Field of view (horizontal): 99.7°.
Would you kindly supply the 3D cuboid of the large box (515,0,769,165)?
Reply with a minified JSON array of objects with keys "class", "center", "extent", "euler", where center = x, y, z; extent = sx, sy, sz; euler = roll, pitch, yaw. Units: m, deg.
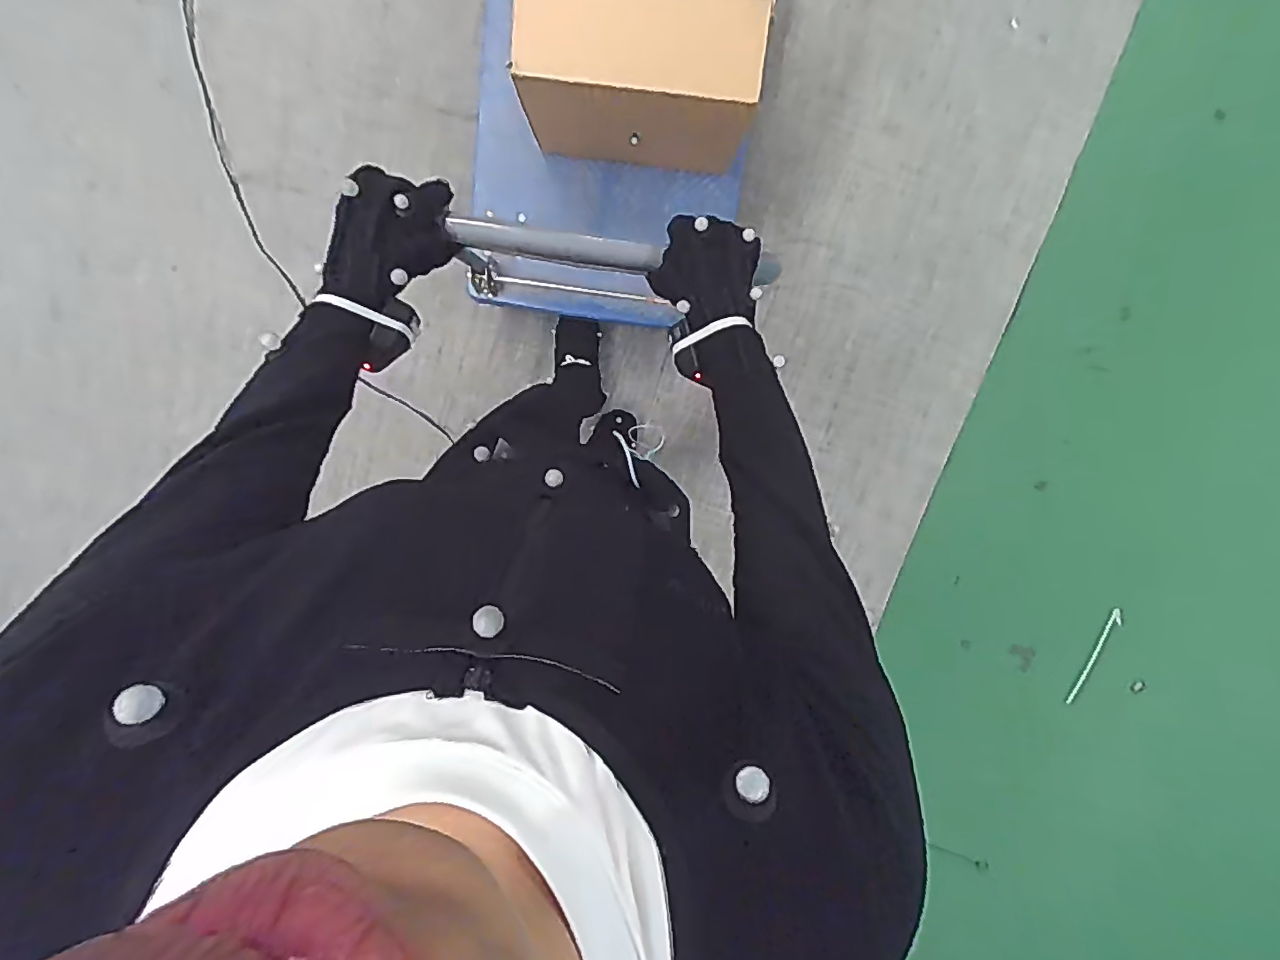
[{"class":"large box","center":[0.011,-0.815,0.996],"extent":[0.408,0.320,0.320],"euler":[6,100,-1]}]
